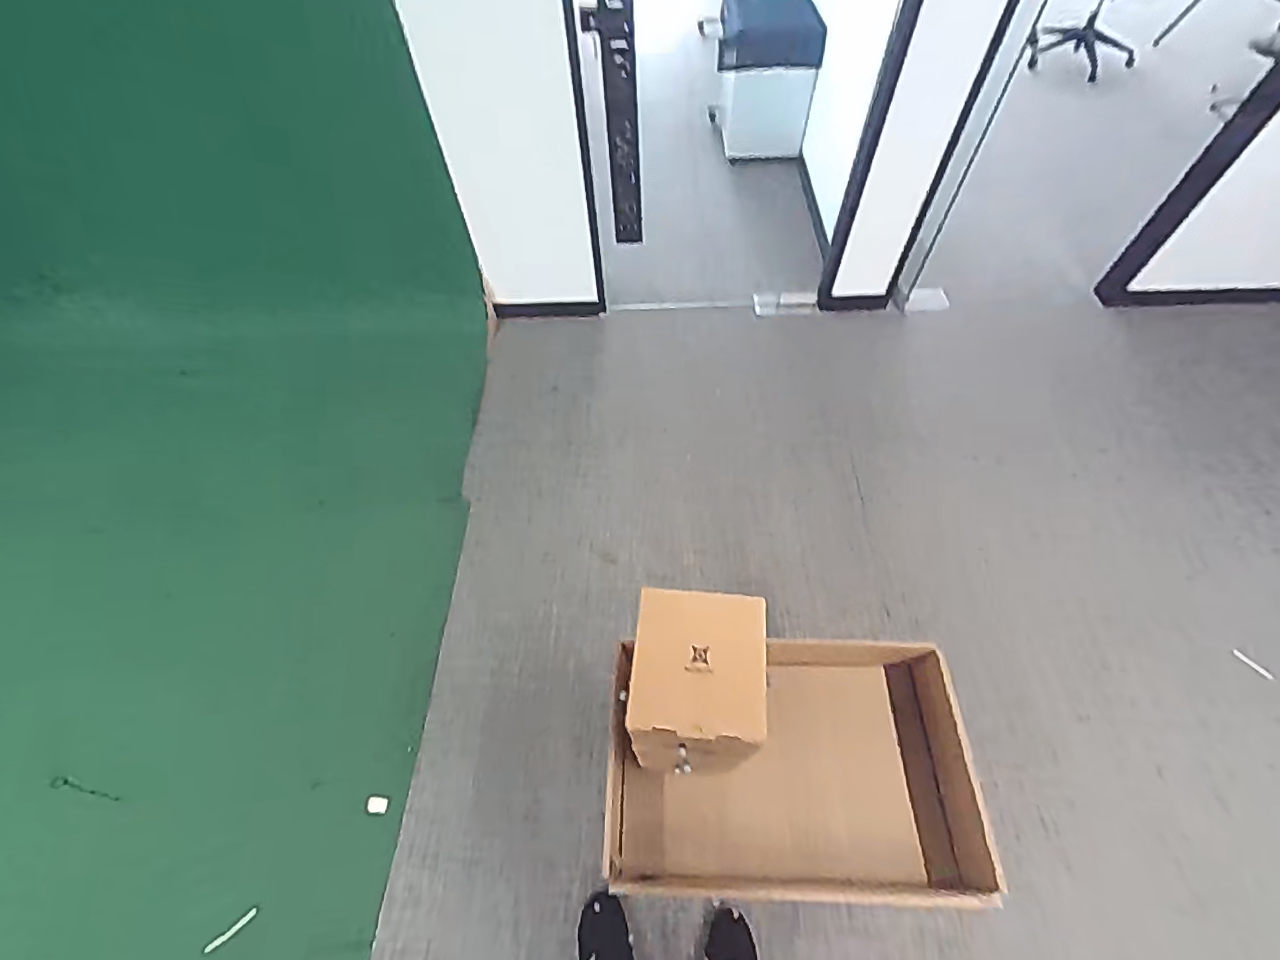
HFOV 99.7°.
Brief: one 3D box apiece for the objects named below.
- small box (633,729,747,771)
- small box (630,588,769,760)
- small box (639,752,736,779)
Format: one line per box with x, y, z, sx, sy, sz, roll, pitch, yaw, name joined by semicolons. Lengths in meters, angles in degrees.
0.082;0.357;0.873;0.168;0.176;0.179;3;57;5;small box
0.080;0.267;0.738;0.168;0.176;0.179;5;58;5;small box
0.086;0.447;1.010;0.168;0.176;0.179;1;57;3;small box
